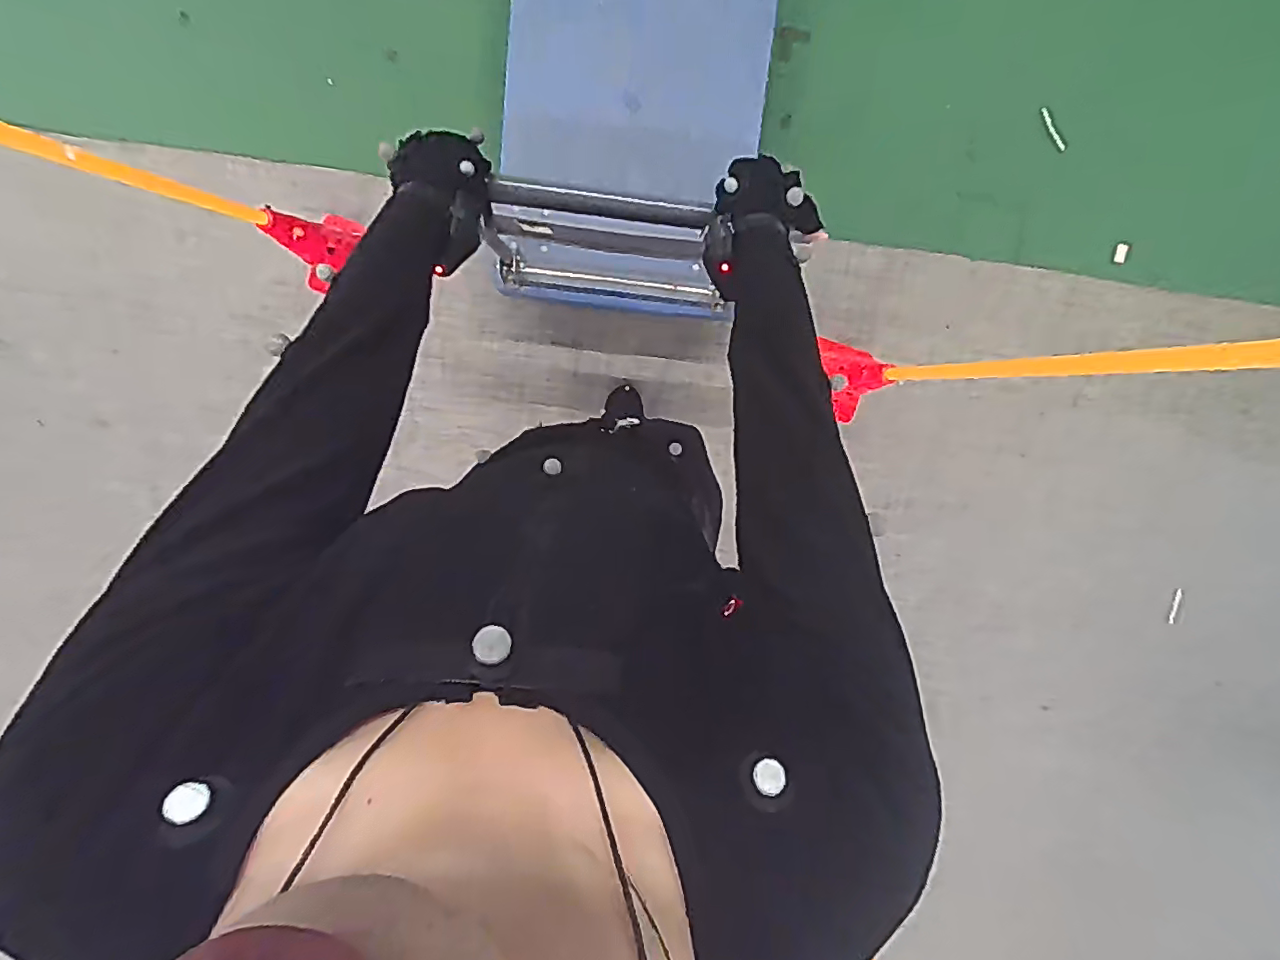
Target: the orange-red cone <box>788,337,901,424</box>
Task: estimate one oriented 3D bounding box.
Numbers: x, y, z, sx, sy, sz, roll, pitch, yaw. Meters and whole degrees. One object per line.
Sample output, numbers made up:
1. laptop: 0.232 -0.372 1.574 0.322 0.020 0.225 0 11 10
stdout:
1. orange-red cone: 0.522 -0.244 1.294 0.198 0.360 0.199 18 98 -4
